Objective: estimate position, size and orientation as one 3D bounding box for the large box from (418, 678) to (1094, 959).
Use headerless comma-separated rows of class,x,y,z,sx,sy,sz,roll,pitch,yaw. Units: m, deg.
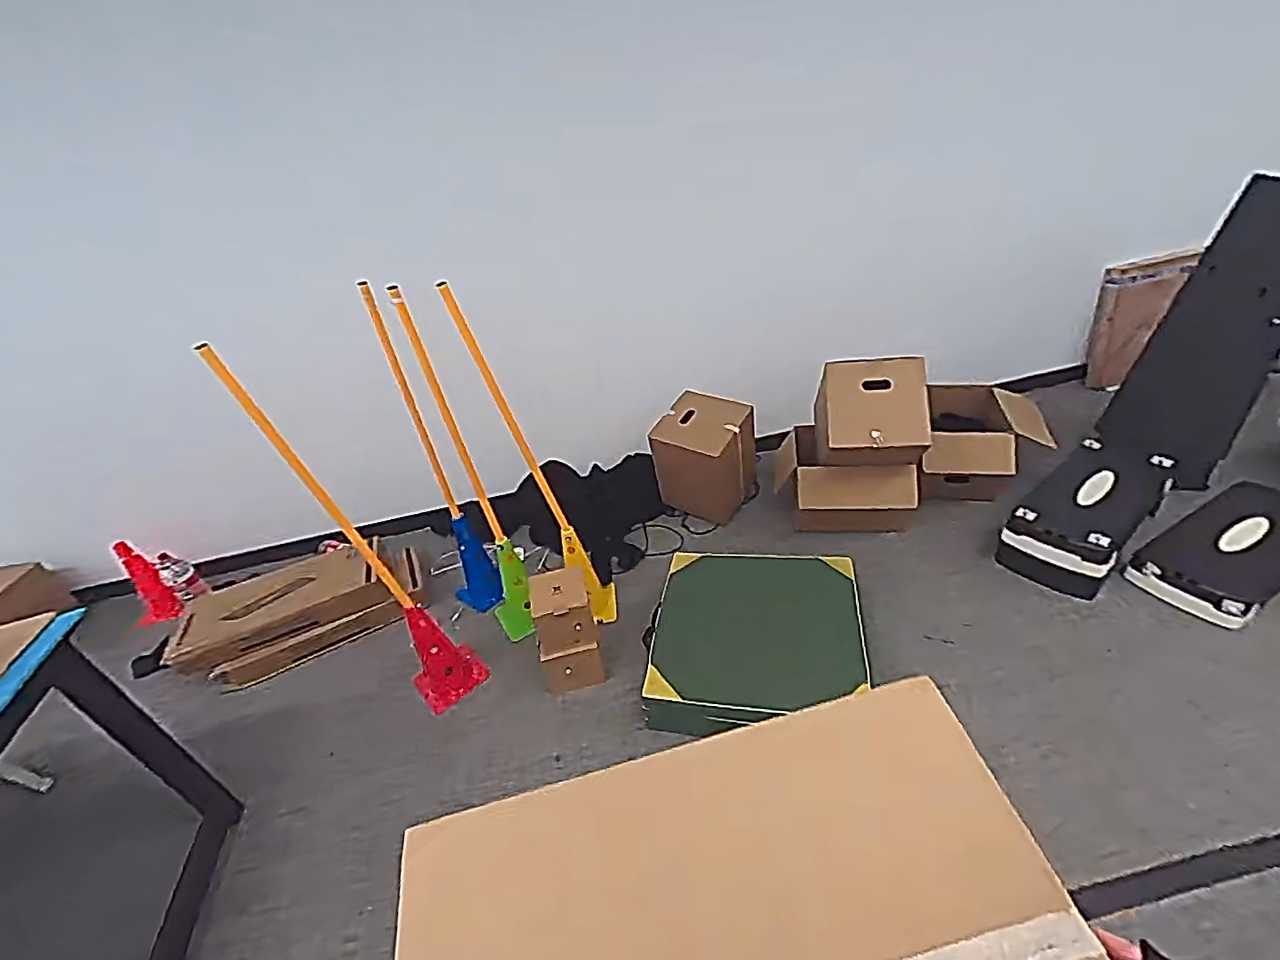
large box,0.086,0.413,0.415,0.408,0.320,0.320,-16,47,-2
